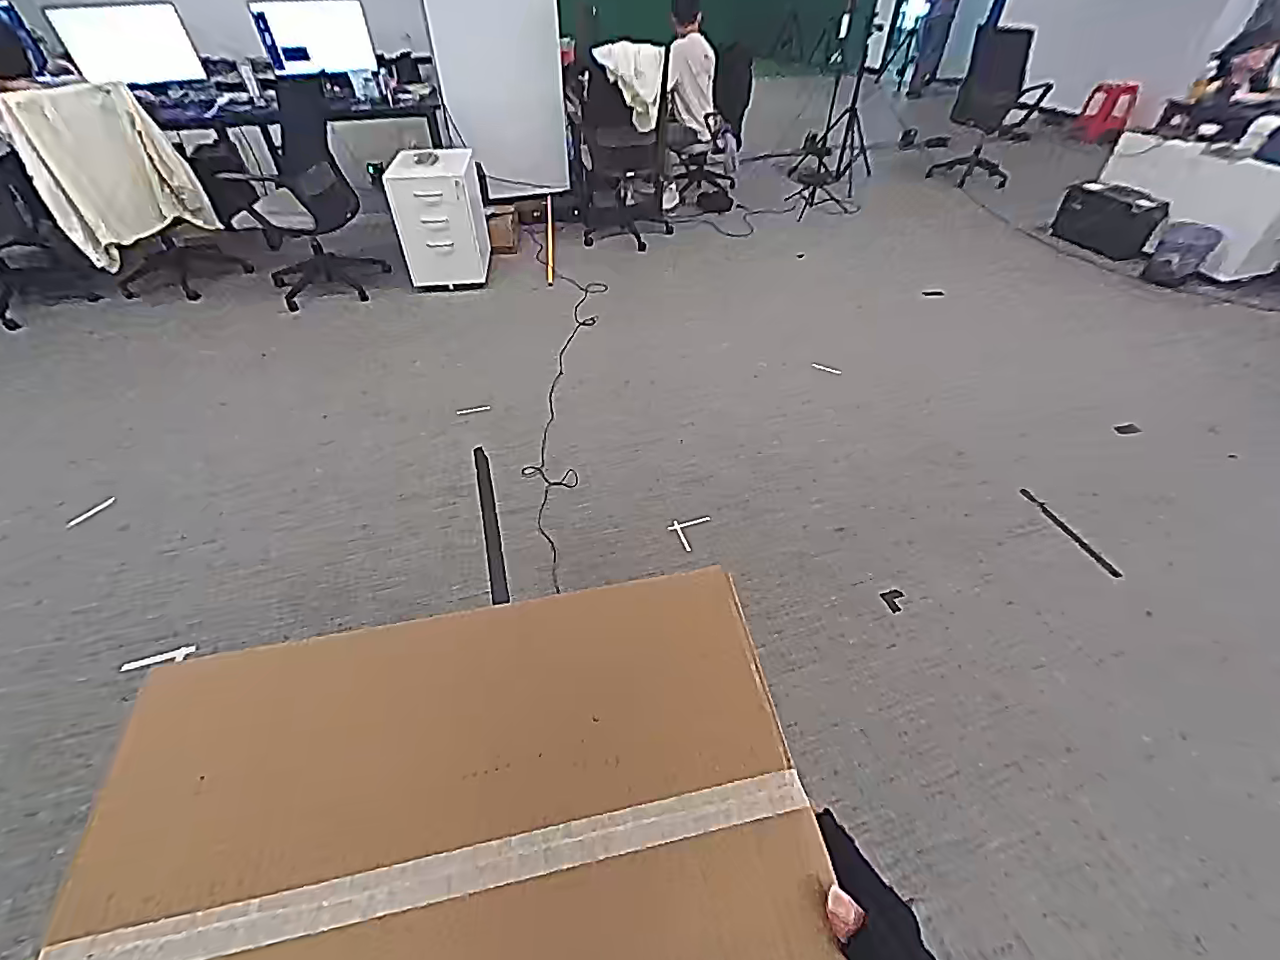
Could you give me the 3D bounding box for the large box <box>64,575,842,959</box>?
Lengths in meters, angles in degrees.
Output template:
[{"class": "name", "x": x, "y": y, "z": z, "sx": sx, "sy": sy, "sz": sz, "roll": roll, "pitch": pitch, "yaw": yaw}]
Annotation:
[{"class": "large box", "x": -0.105, "y": 0.314, "z": 0.424, "sx": 0.408, "sy": 0.320, "sz": 0.320, "roll": -9, "pitch": 51, "yaw": -8}]
